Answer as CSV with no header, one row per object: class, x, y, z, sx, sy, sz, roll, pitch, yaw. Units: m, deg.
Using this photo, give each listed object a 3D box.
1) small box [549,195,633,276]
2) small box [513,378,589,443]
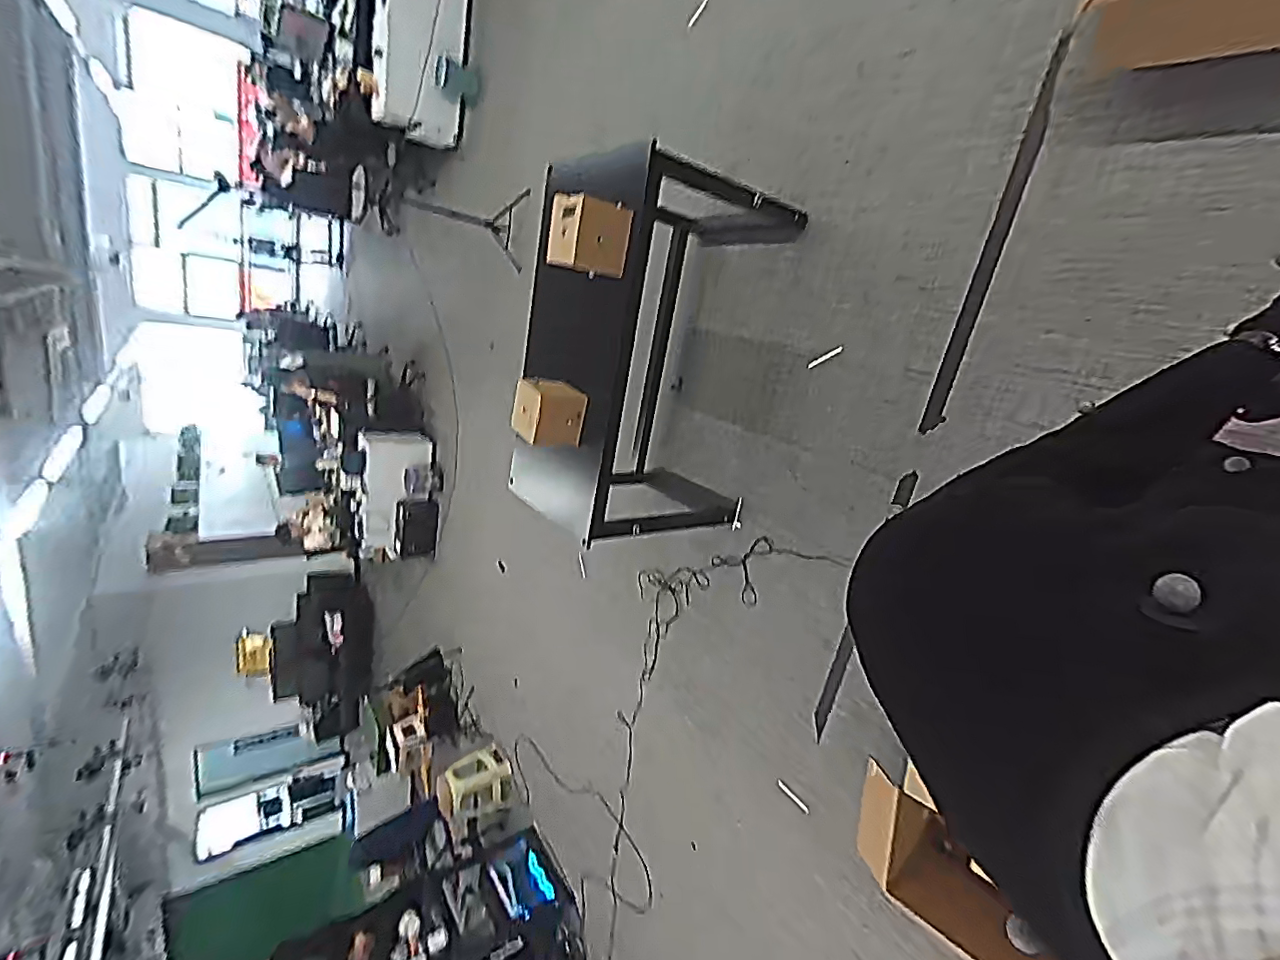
small box,-0.140,-0.696,1.545,0.168,0.176,0.179,33,118,47
small box,-0.291,-0.223,1.766,0.179,0.176,0.168,37,120,45
